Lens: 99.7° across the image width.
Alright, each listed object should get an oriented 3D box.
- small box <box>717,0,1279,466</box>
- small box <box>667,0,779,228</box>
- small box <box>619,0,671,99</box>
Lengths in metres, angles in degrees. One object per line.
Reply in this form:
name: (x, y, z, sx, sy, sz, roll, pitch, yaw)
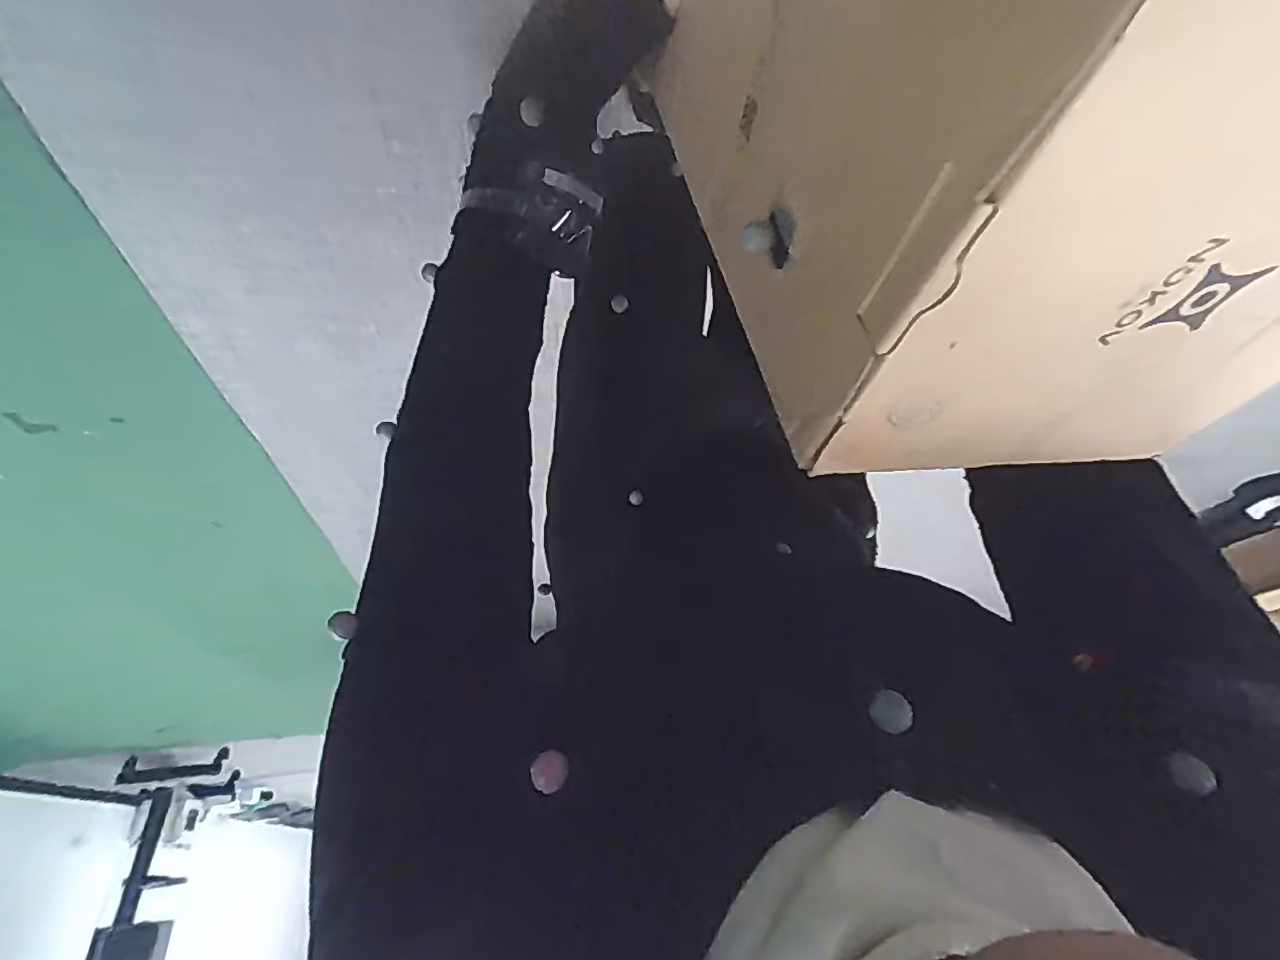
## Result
small box: (0.143, -0.123, 0.197, 0.179, 0.176, 0.168, -4, 148, -13)
small box: (0.115, -0.257, 0.284, 0.168, 0.176, 0.179, -3, 147, -11)
small box: (0.087, -0.387, 0.378, 0.179, 0.176, 0.168, -1, 146, -12)
